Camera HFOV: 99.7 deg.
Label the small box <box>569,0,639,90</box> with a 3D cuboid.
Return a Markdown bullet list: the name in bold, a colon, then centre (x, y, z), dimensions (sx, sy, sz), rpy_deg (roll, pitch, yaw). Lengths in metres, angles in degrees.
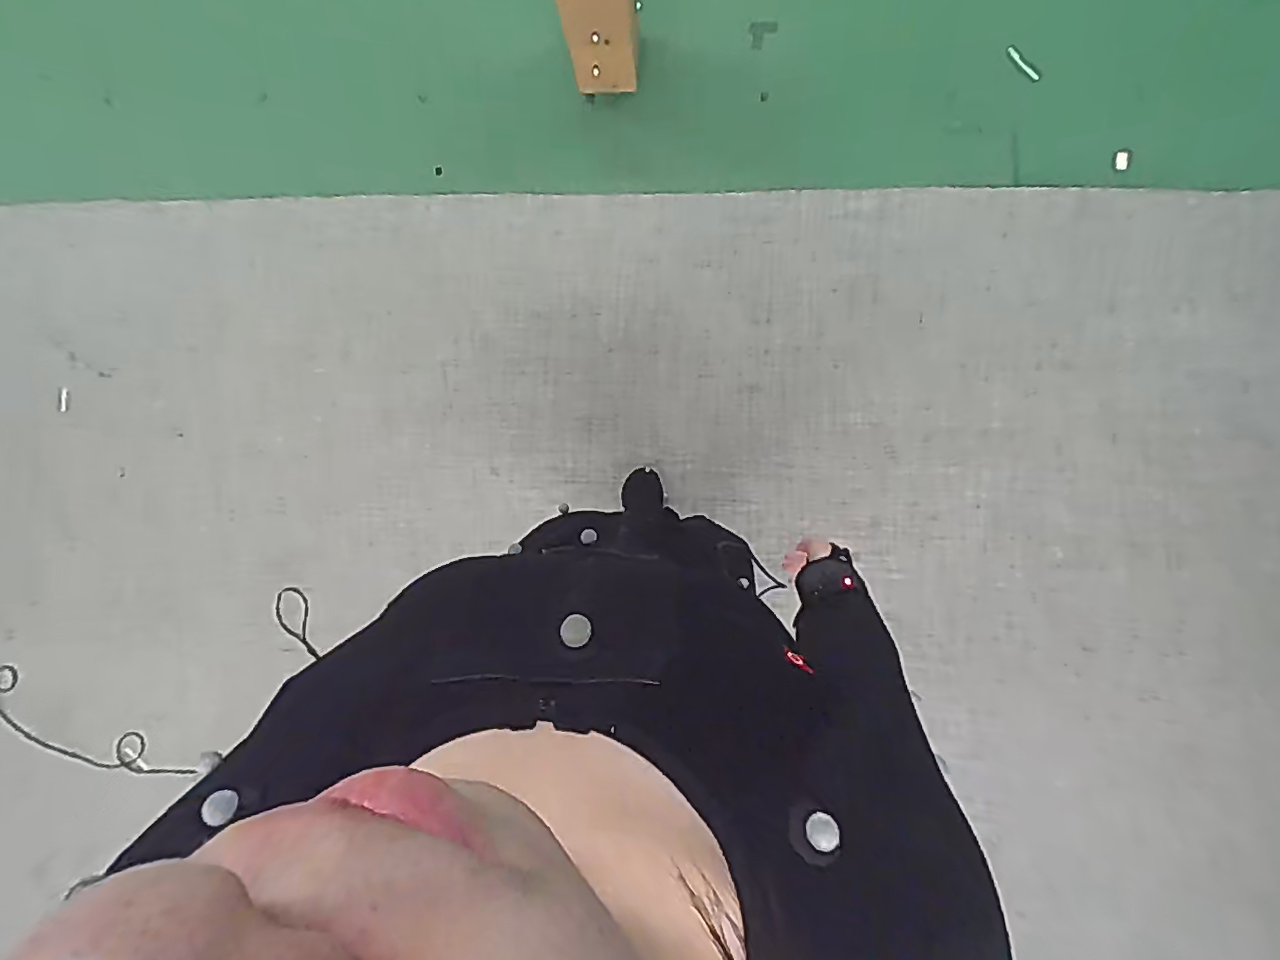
- **small box**: centre (-0.091, -1.192, 1.459), dimensions (0.168, 0.176, 0.179), rpy_deg (2, 88, 4)
